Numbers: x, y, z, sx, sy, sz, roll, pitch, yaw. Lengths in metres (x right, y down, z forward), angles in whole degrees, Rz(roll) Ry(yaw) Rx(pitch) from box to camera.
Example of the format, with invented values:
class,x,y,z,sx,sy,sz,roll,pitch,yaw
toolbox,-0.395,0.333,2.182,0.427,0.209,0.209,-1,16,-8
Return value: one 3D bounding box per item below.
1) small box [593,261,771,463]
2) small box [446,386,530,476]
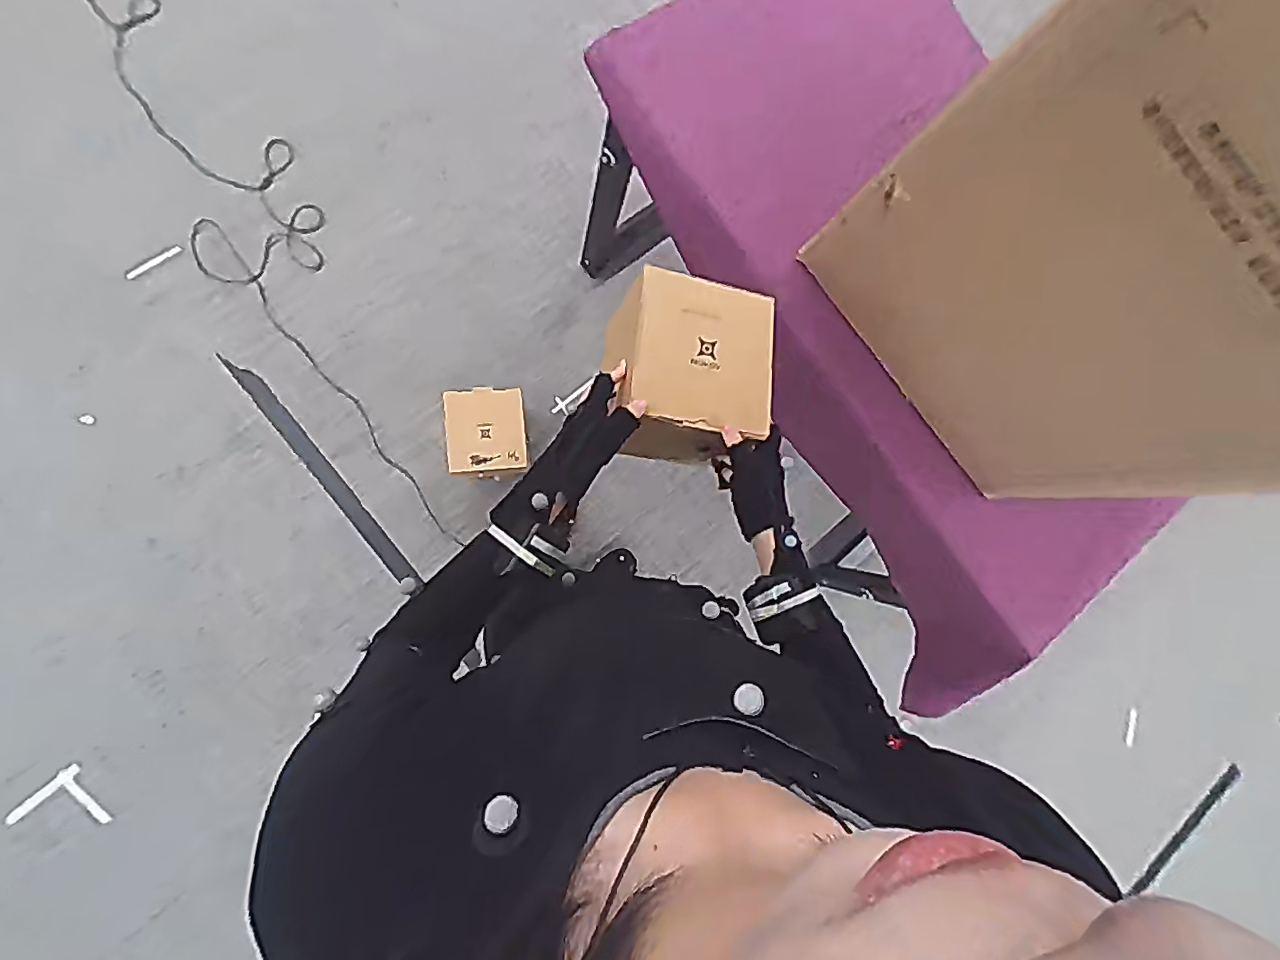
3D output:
class,x,y,z,sx,sy,sz,roll,pitch,yaw
small box,0.044,-0.129,0.666,0.168,0.176,0.179,9,75,-18
small box,-0.339,-0.106,1.227,0.168,0.176,0.179,-5,88,-11
